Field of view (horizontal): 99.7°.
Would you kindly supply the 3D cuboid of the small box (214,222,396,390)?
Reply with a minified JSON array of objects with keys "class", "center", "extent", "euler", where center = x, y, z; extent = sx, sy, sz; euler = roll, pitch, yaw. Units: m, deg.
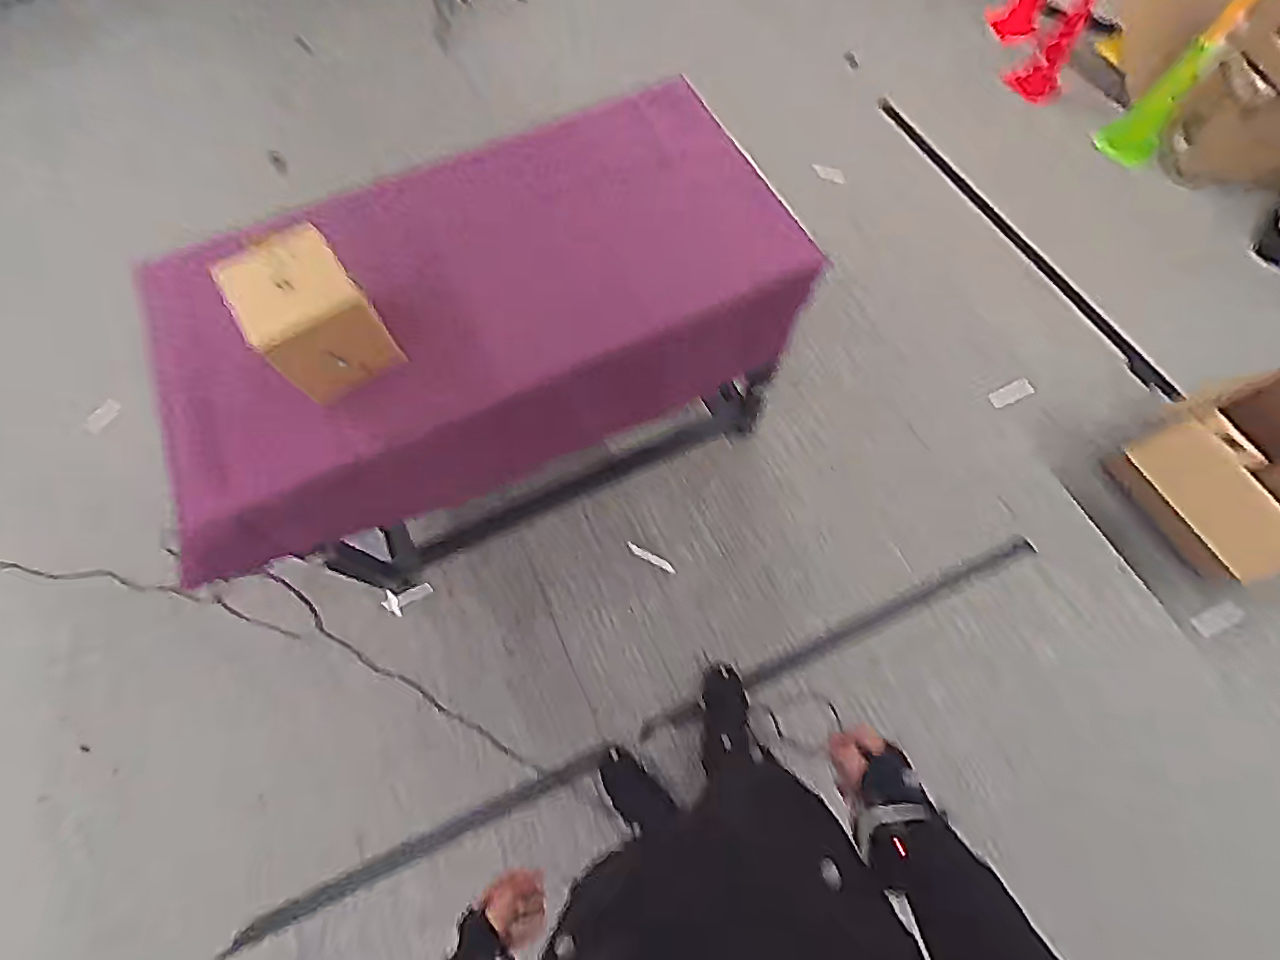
[{"class":"small box","center":[-0.536,-0.272,0.889],"extent":[0.168,0.176,0.179],"euler":[-32,71,-12]}]
